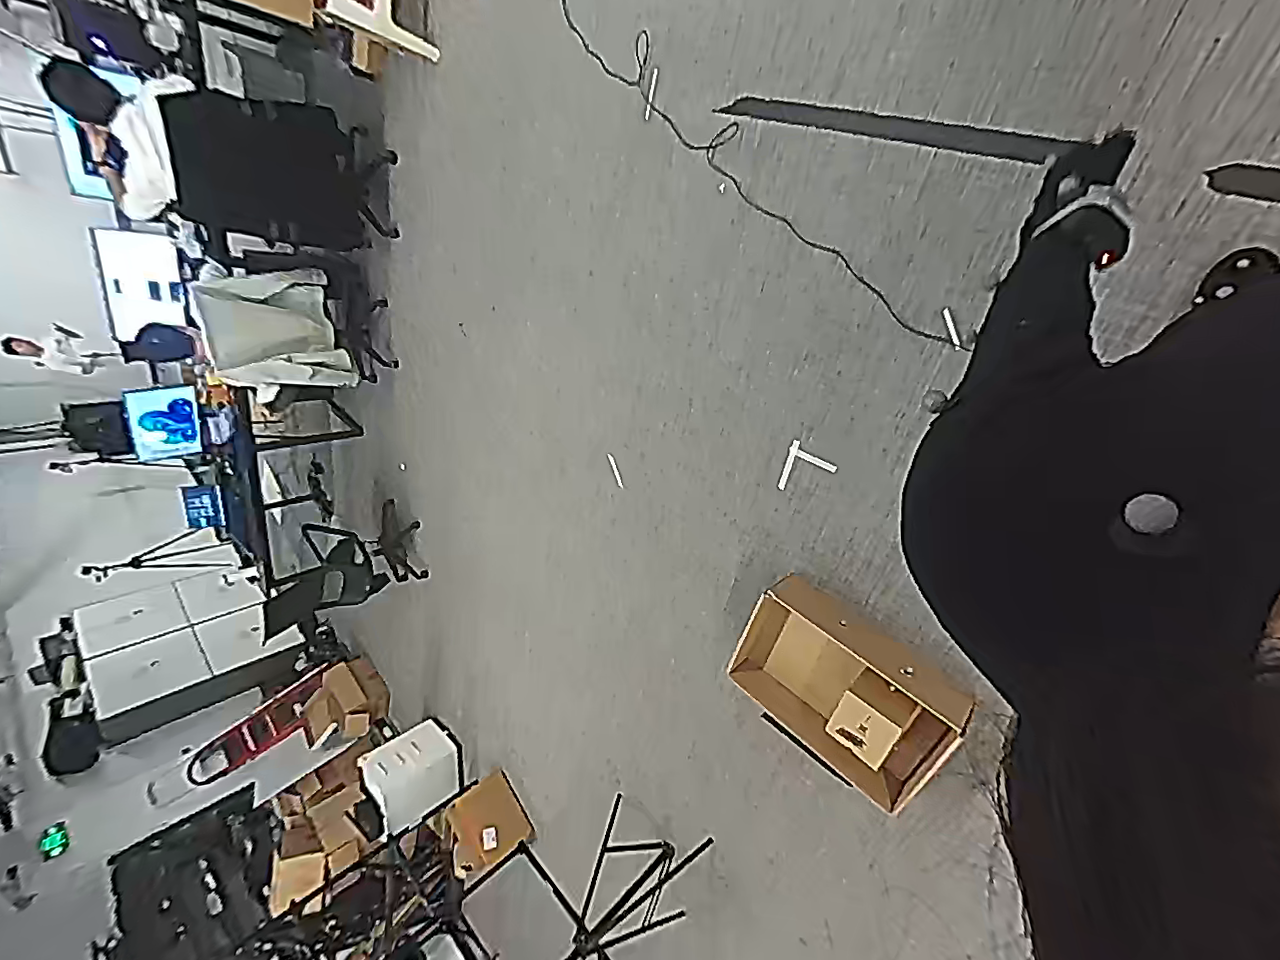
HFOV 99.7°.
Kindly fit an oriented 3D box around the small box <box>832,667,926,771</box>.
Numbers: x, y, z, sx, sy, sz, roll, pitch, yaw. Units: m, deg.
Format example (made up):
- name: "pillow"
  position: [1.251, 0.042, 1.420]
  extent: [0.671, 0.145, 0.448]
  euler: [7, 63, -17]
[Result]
- name: "small box"
  position: [0.689, 0.678, 1.549]
  extent: [0.168, 0.176, 0.179]
  euler: [33, 123, 34]
